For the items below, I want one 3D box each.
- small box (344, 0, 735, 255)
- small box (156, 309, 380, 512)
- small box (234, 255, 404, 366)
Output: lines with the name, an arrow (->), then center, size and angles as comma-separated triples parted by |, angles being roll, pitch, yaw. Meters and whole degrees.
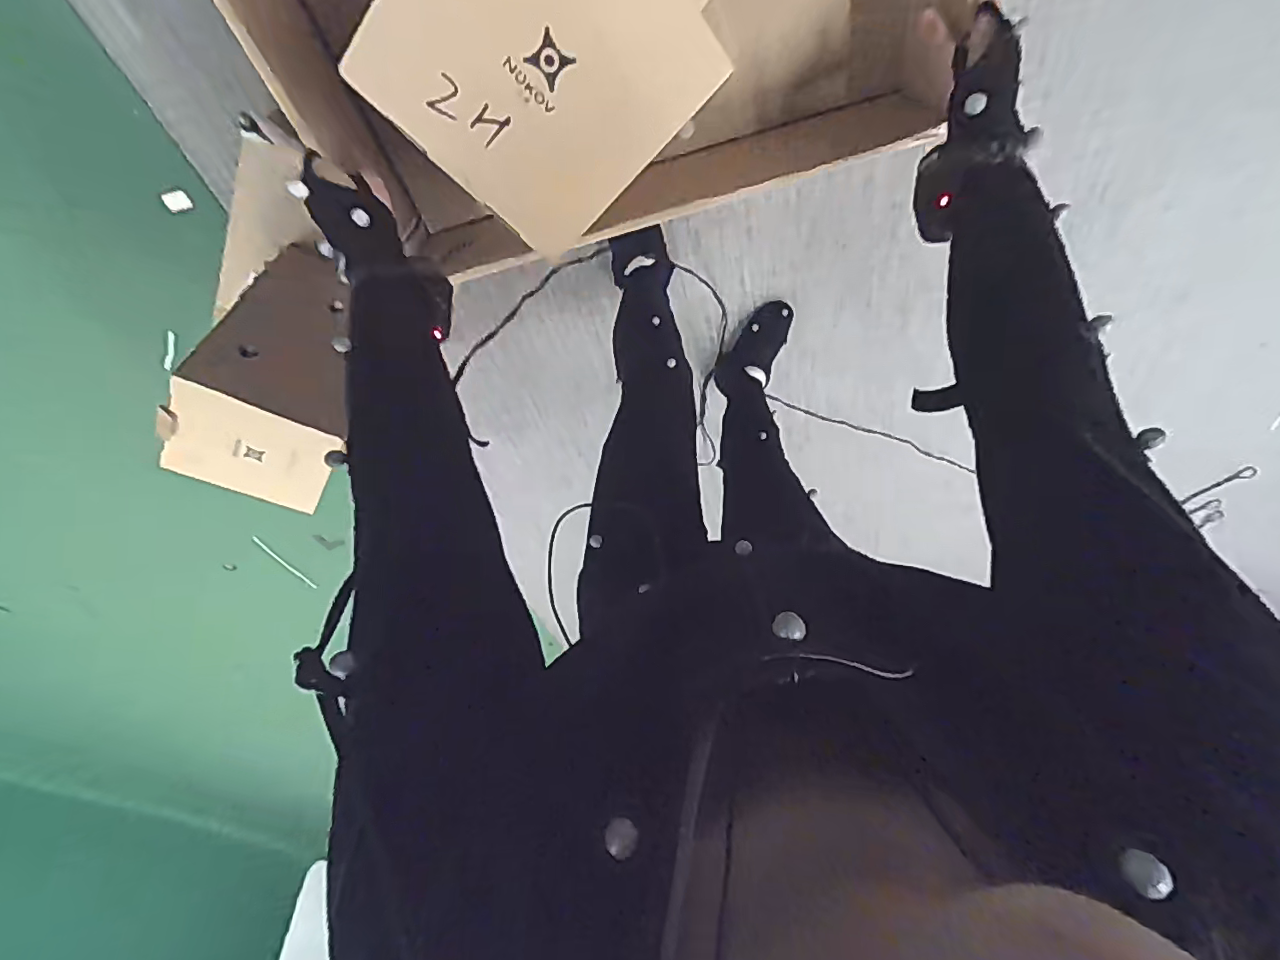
small box -> -0.063, -0.306, 0.376 | 0.179, 0.176, 0.168 | -35, 127, 27
small box -> -0.470, -0.094, 0.702 | 0.179, 0.176, 0.168 | 25, 129, -27
small box -> -0.488, -0.208, 0.816 | 0.179, 0.176, 0.168 | 27, 127, -29
